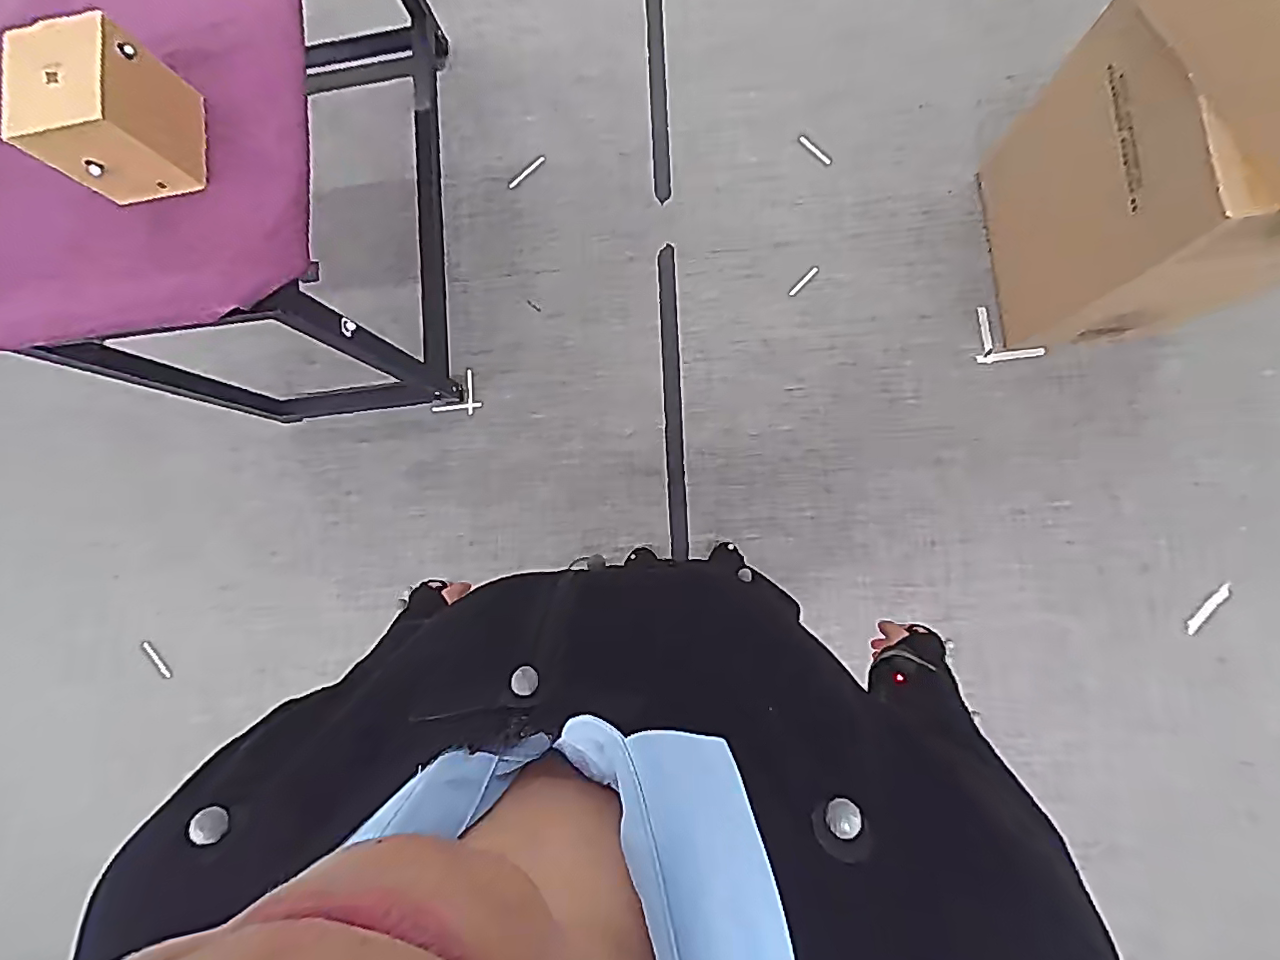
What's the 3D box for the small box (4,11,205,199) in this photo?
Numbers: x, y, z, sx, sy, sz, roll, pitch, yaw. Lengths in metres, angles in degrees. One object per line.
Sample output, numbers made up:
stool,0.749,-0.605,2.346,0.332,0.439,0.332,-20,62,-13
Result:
small box,-0.836,-0.576,0.860,0.168,0.176,0.179,-8,83,5
